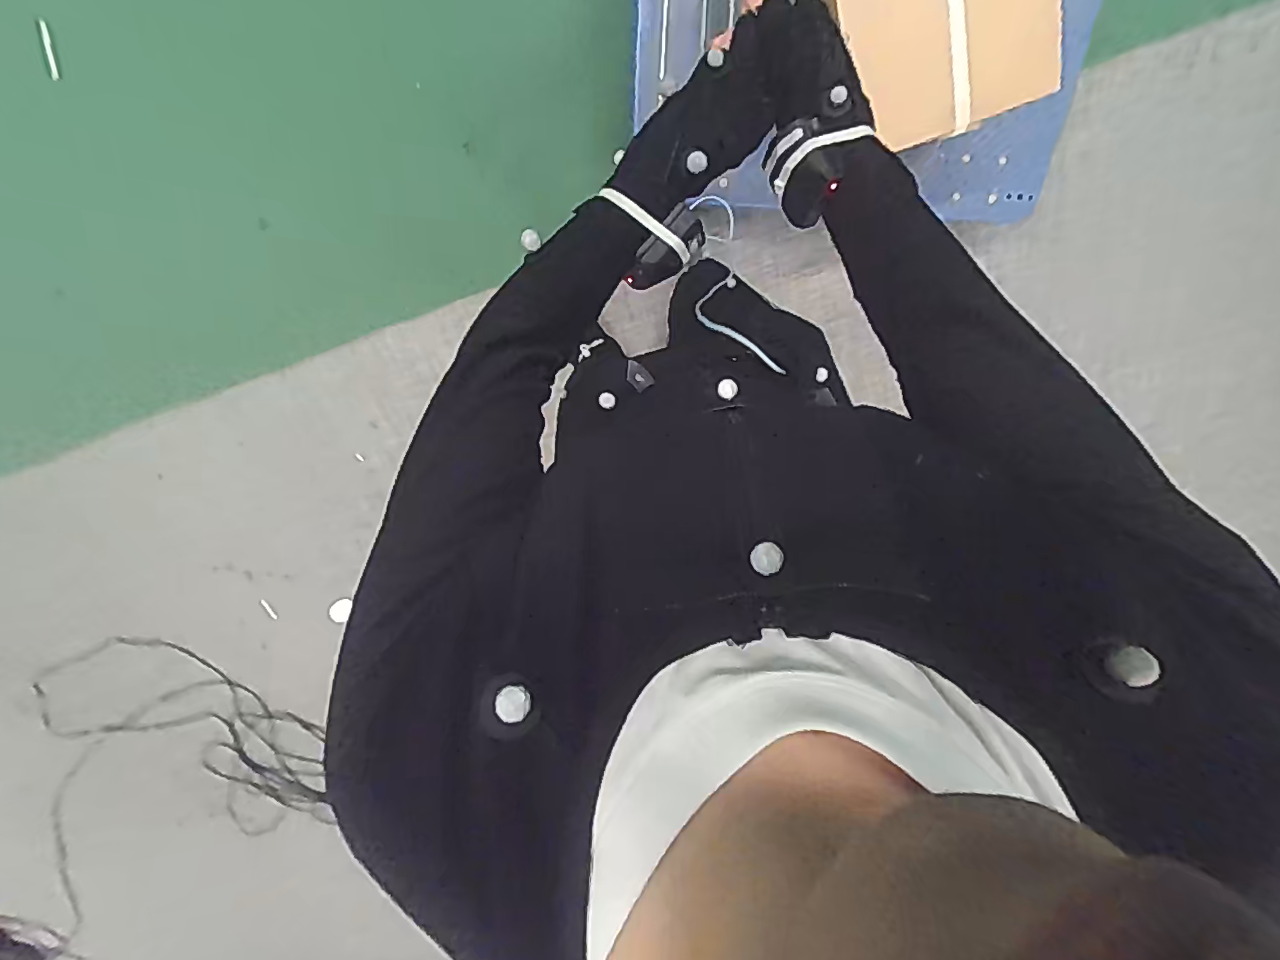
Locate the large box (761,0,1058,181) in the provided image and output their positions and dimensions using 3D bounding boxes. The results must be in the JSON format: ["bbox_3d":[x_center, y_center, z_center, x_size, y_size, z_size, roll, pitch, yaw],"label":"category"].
[{"bbox_3d":[0.403,-0.762,0.870,0.320,0.320,0.408,-18,114,3],"label":"large box"}]
